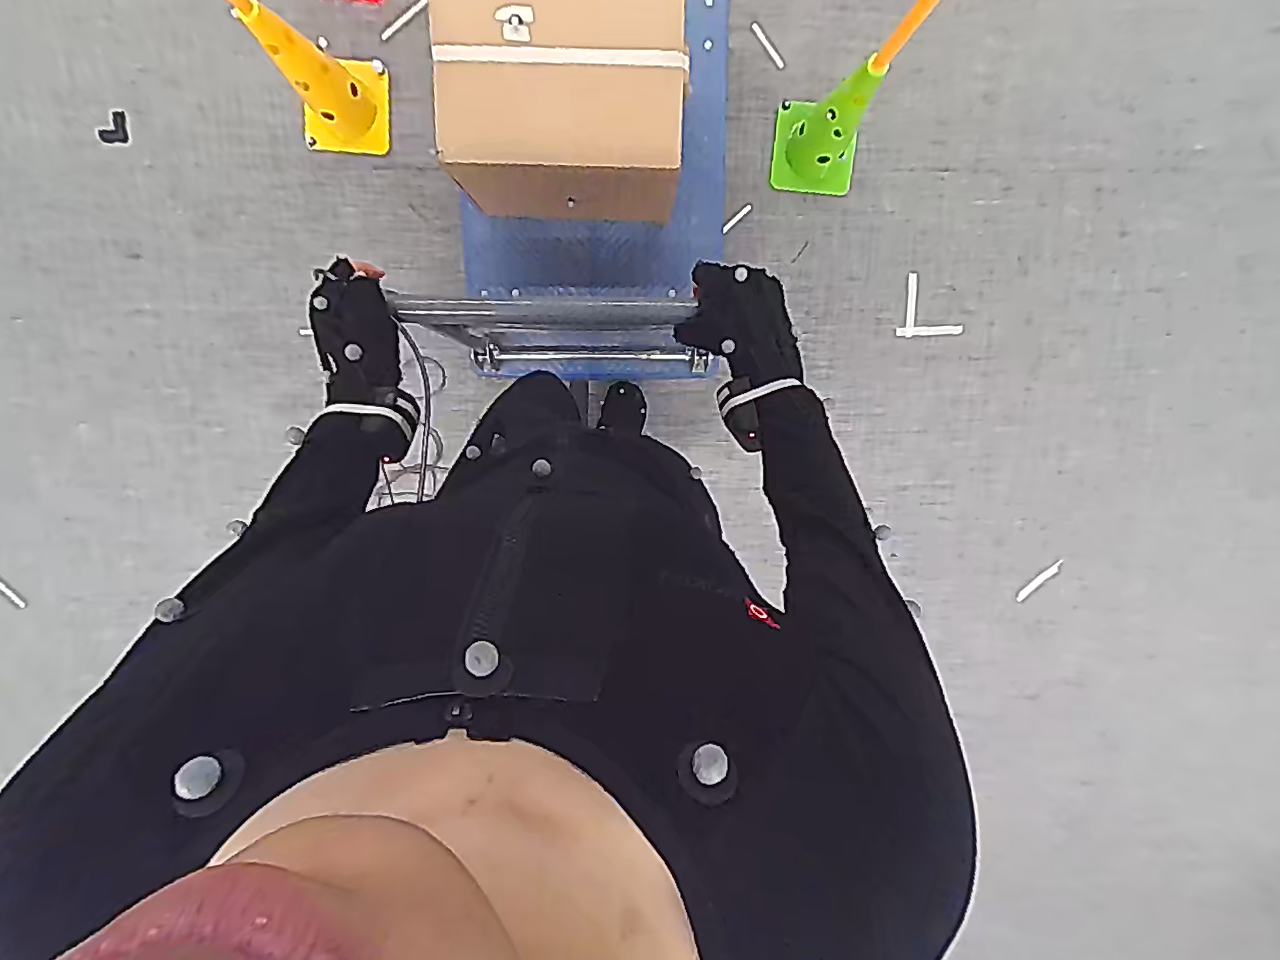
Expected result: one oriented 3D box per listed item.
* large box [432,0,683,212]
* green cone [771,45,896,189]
[{"bbox_3d":[-0.130,-0.707,1.014,0.408,0.320,0.320,1,101,0],"label":"large box"},{"bbox_3d":[0.432,-0.794,1.152,0.202,0.368,0.200,4,101,-3],"label":"green cone"}]
